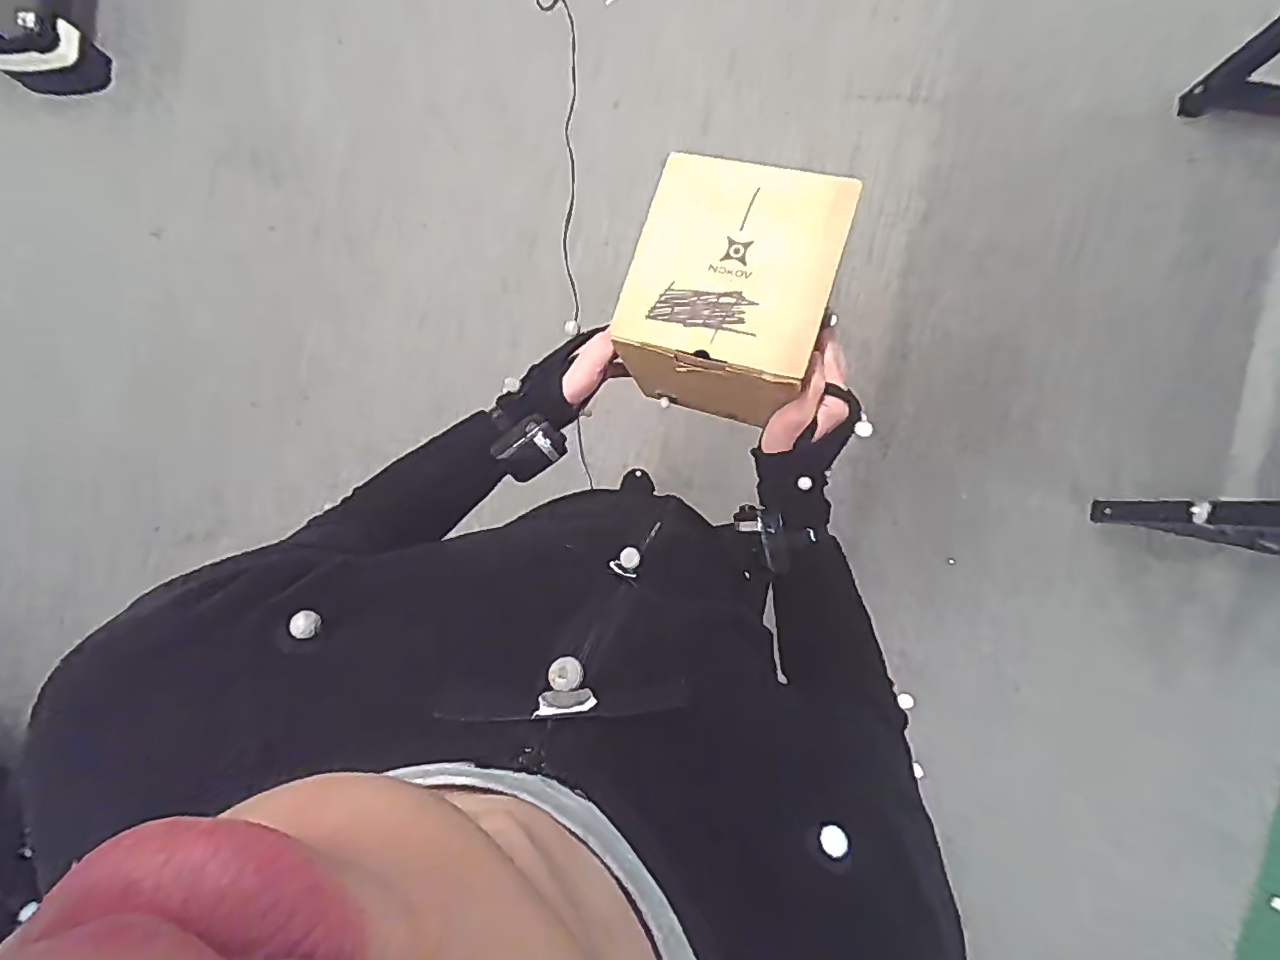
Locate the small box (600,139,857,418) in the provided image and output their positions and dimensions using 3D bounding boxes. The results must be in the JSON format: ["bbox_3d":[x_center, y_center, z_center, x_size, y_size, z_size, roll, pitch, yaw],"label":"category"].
[{"bbox_3d":[0.084,-0.173,0.510,0.168,0.176,0.179,18,85,13],"label":"small box"}]
